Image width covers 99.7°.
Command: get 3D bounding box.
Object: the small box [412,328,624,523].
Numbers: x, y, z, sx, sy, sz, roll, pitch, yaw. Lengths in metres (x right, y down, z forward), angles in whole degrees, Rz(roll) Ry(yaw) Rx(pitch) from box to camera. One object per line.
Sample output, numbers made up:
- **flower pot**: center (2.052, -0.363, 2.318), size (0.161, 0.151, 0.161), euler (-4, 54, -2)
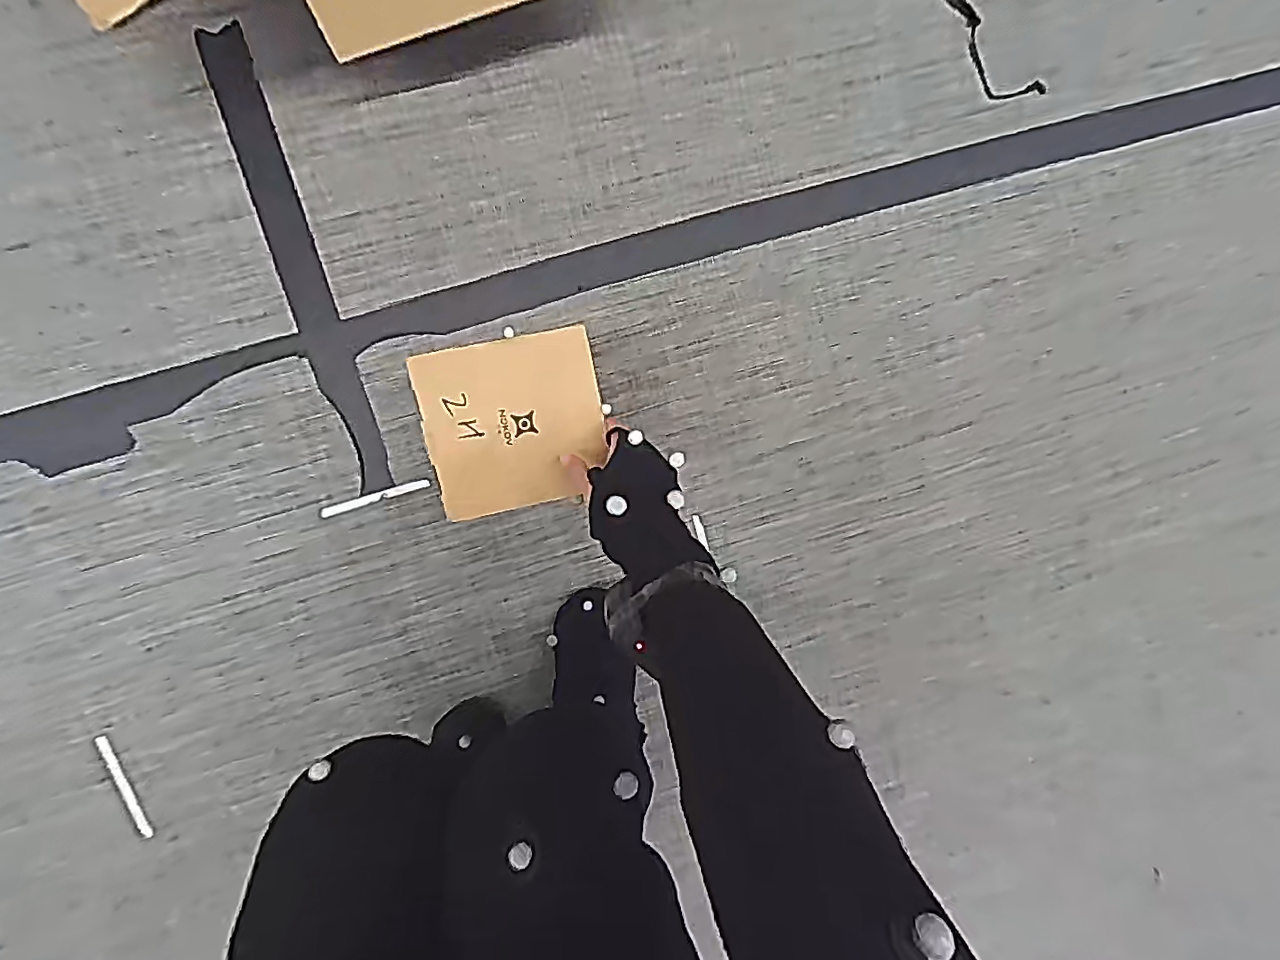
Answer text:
- **small box**: center (-0.127, -0.065, 0.602), size (0.179, 0.176, 0.168), euler (-12, 100, -6)
